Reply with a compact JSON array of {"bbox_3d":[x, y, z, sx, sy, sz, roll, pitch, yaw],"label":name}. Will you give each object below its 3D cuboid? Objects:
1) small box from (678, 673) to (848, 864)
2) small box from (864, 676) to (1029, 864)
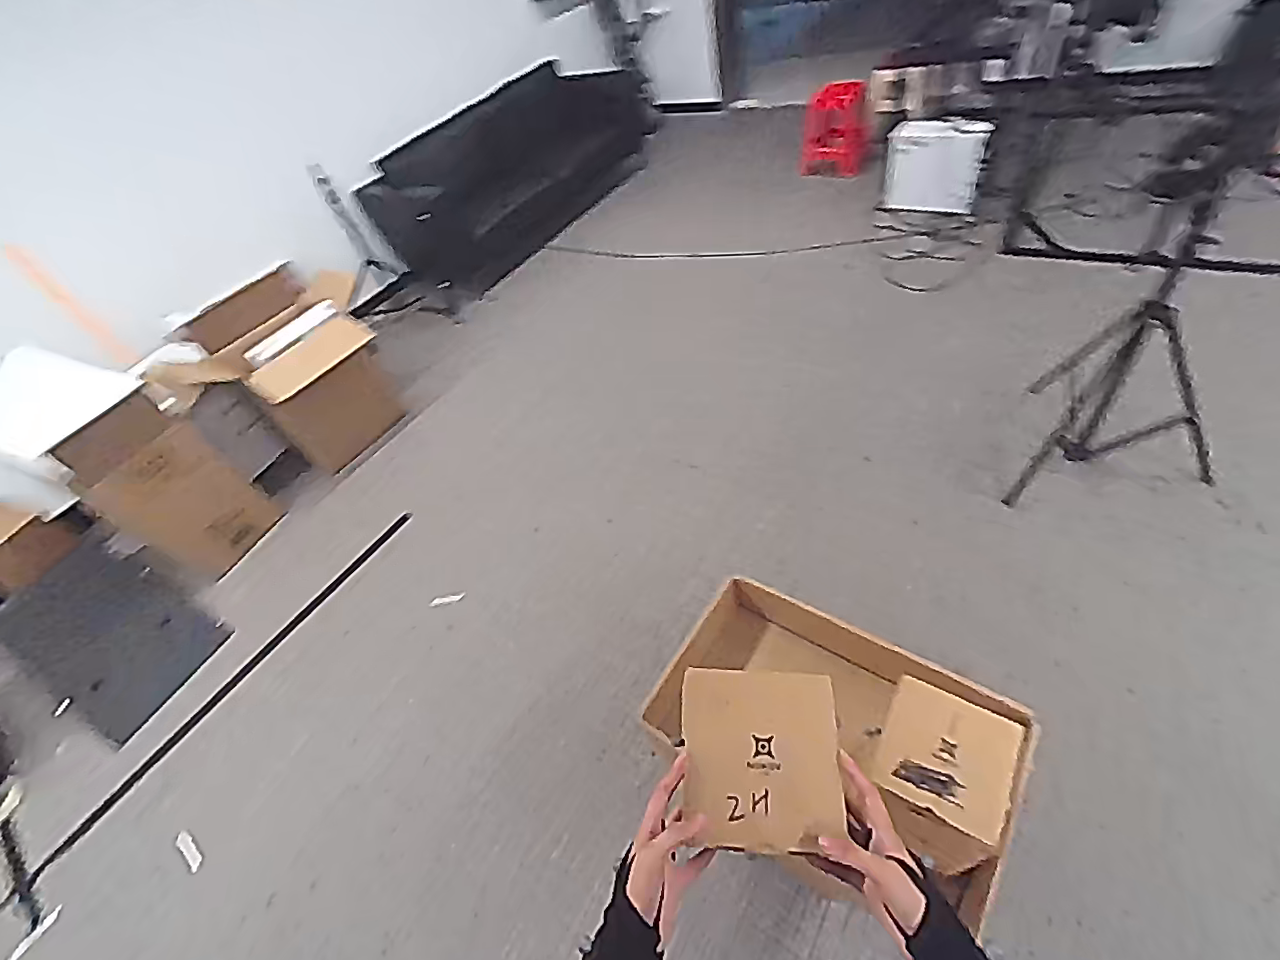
[{"bbox_3d":[0.131,0.340,0.647,0.168,0.176,0.179,1,61,3],"label":"small box"},{"bbox_3d":[0.452,0.440,0.819,0.168,0.176,0.179,20,57,29],"label":"small box"}]
